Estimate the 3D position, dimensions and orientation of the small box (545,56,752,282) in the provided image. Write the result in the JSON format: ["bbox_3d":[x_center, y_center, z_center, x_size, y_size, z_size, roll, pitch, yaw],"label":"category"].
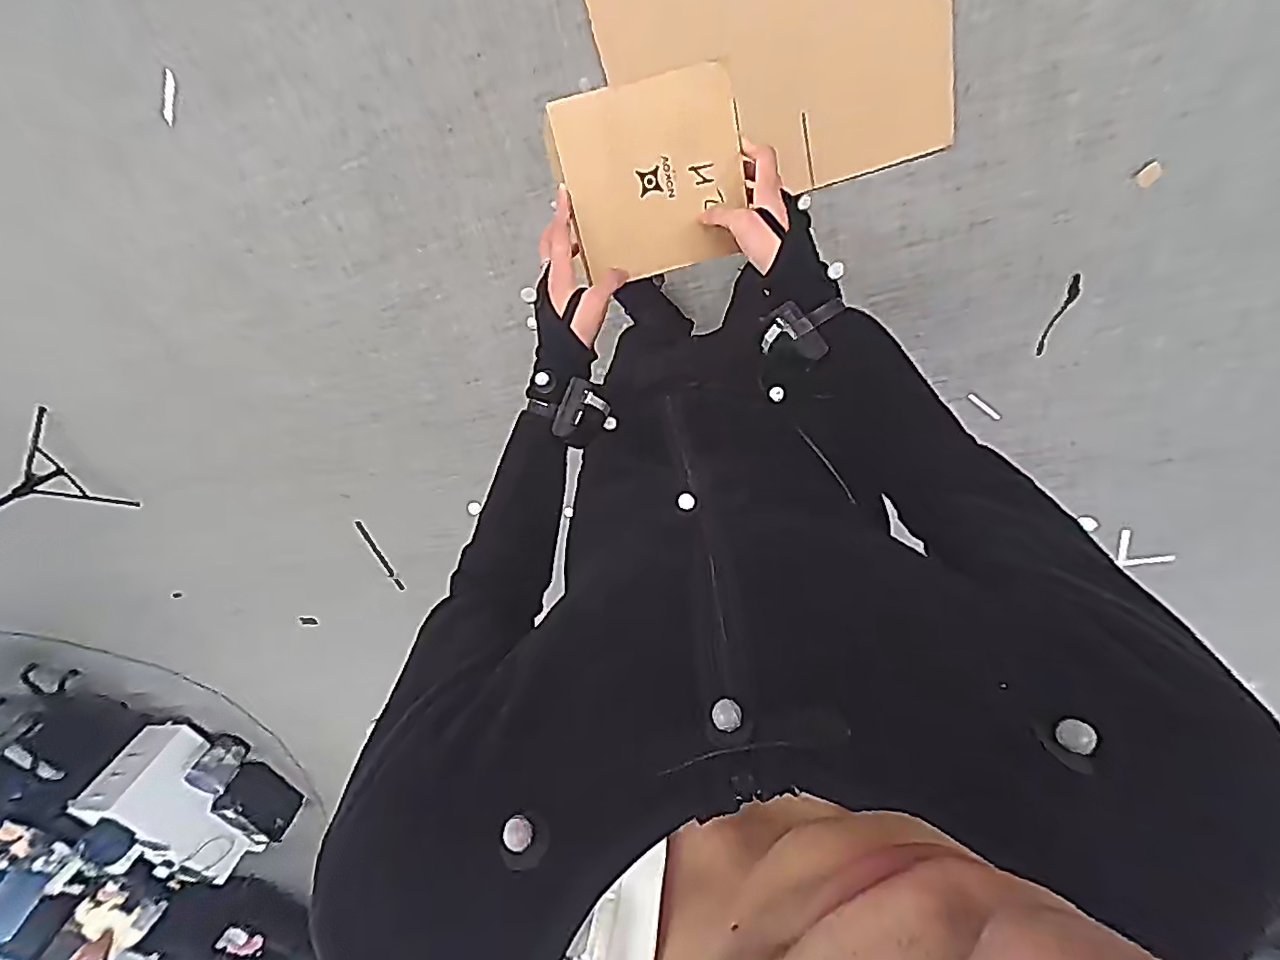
[{"bbox_3d":[0.003,-0.322,0.589,0.179,0.176,0.168,-16,116,-4],"label":"small box"}]
